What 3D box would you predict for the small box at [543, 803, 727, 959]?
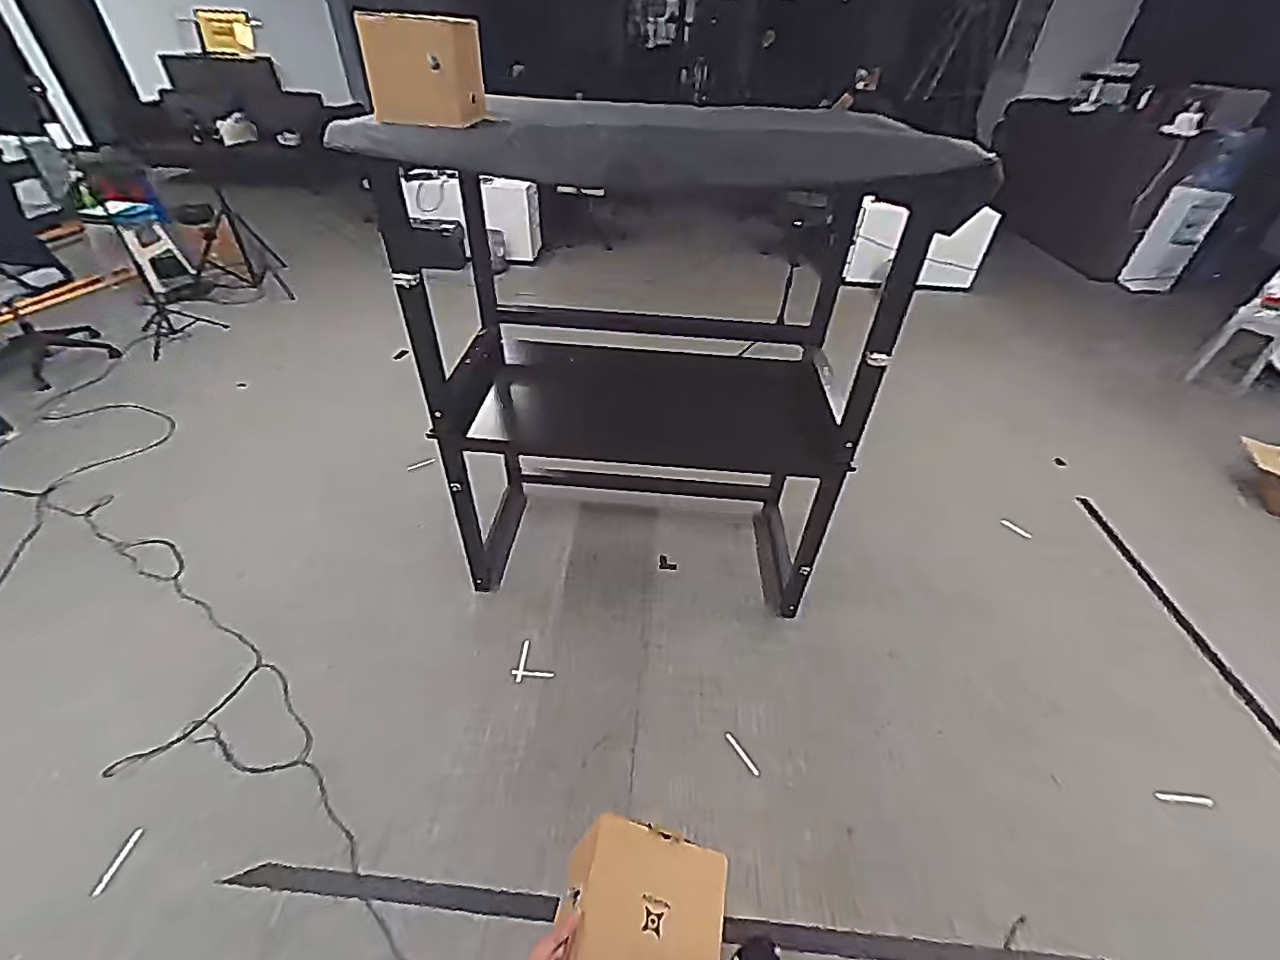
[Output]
[{"bbox_3d":[-0.010,0.532,0.644,0.168,0.176,0.179,22,38,-1],"label":"small box"}]
